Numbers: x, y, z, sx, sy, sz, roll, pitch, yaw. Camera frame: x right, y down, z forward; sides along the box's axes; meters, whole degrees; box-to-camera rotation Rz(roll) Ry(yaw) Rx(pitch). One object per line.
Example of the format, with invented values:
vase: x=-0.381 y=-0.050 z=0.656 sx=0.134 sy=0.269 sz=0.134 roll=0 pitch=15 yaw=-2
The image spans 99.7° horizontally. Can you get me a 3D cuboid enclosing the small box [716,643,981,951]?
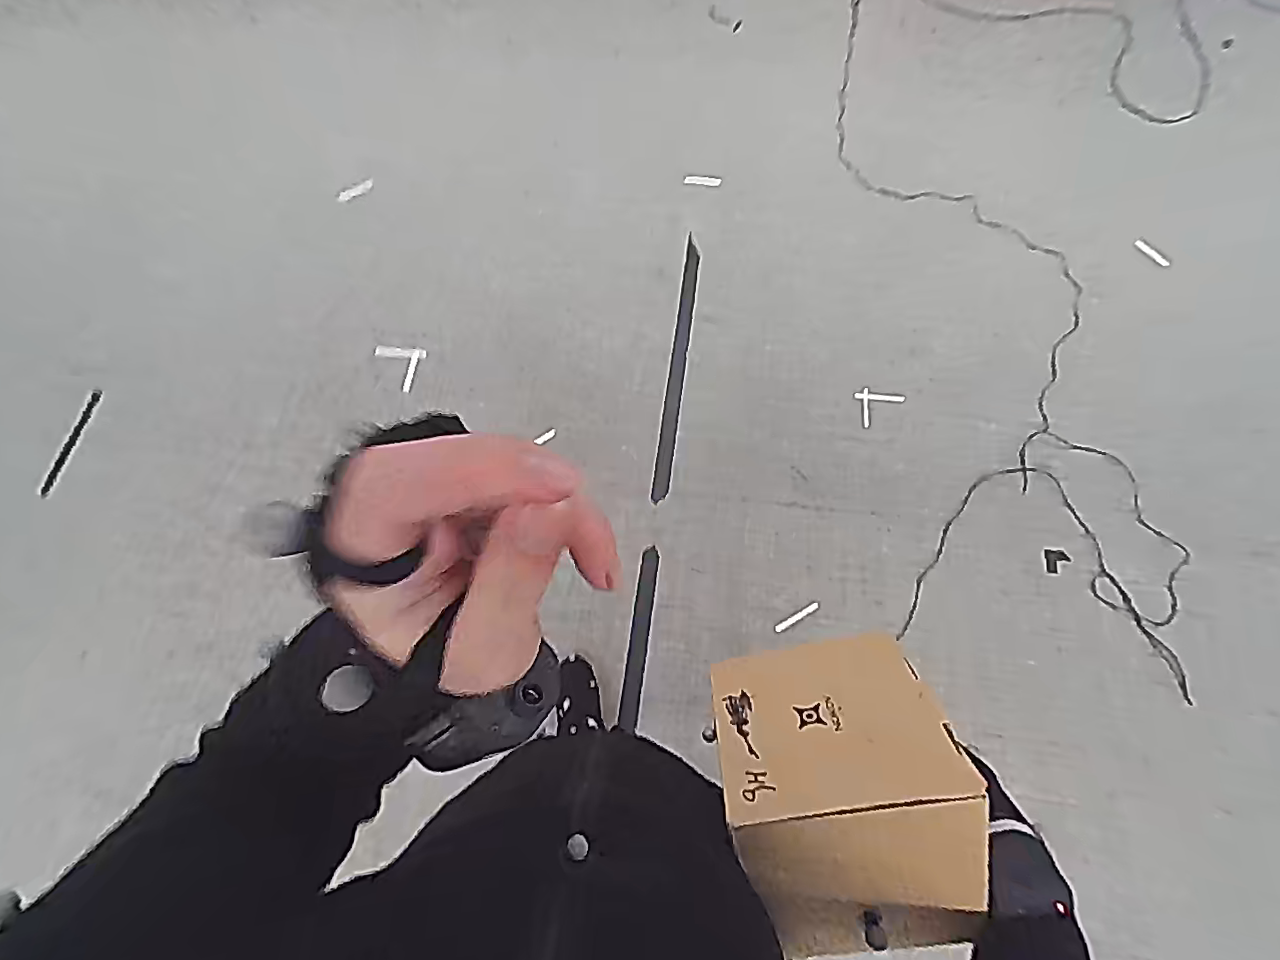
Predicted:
small box: x=0.173 y=0.278 z=0.487 sx=0.179 sy=0.168 sz=0.176 roll=-12 pitch=111 yaw=7
